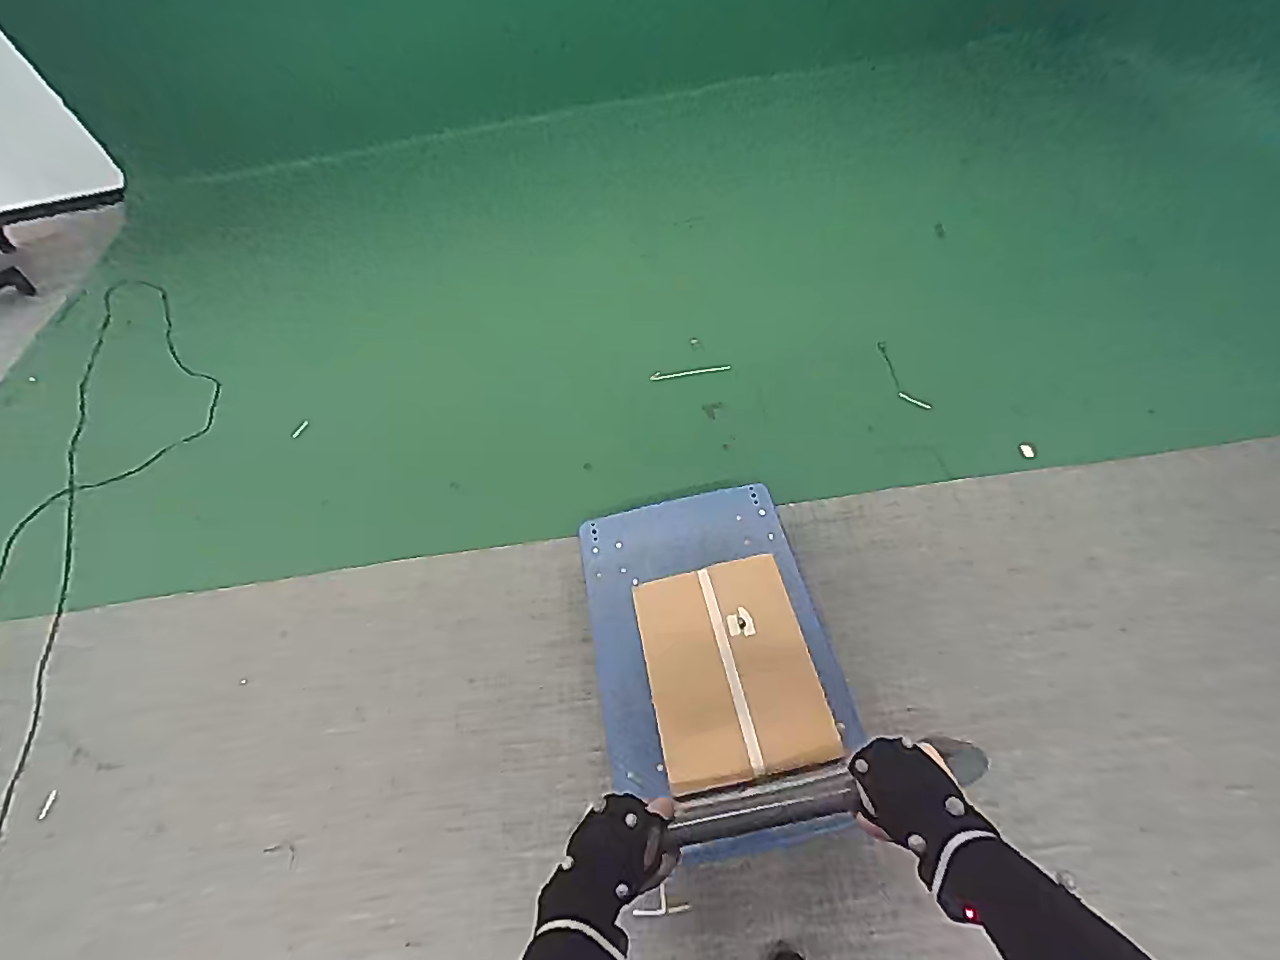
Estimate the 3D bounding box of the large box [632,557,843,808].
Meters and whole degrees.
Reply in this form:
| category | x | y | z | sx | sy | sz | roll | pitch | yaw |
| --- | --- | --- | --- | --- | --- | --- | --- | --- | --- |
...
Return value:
| category | x | y | z | sx | sy | sz | roll | pitch | yaw |
| --- | --- | --- | --- | --- | --- | --- | --- | --- | --- |
| large box | 0.192 | 0.440 | 1.170 | 0.320 | 0.320 | 0.408 | -13 | 54 | 0 |
